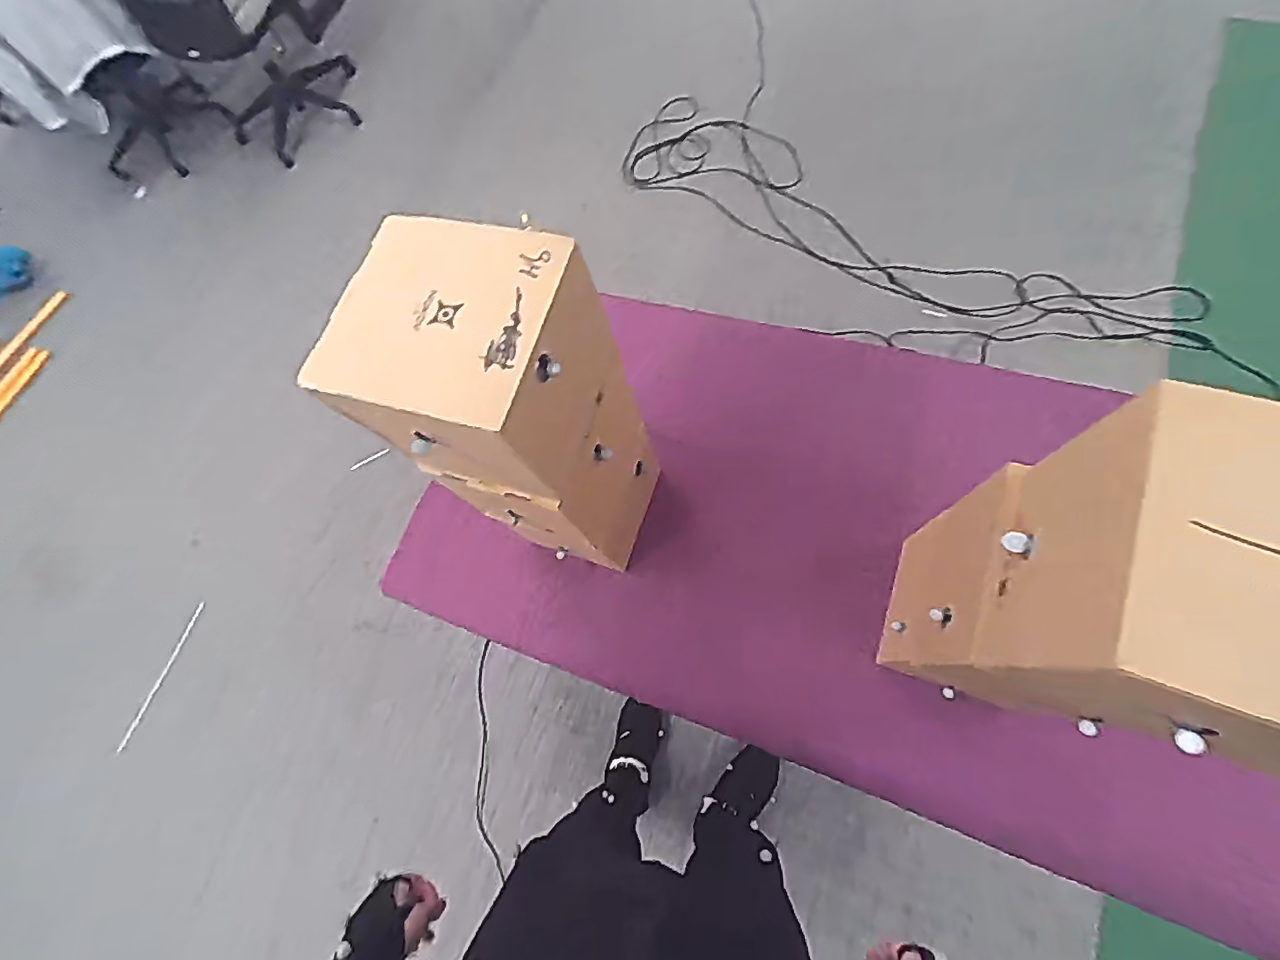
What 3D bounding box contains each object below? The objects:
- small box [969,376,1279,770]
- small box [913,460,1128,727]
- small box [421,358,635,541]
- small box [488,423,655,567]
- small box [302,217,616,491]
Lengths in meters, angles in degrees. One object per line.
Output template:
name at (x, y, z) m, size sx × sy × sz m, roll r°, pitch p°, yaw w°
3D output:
small box at (0.340, 0.066, 0.329) m, size 0.179 × 0.176 × 0.168 m, roll 19°, pitch 75°, yaw 17°
small box at (0.365, 0.108, 0.485) m, size 0.168 × 0.176 × 0.179 m, roll 17°, pitch 75°, yaw 16°
small box at (-0.113, -0.046, 0.637) m, size 0.168 × 0.176 × 0.179 m, roll 15°, pitch 74°, yaw 15°
small box at (-0.085, 0.010, 0.786) m, size 0.168 × 0.176 × 0.179 m, roll 16°, pitch 74°, yaw 16°
small box at (-0.140, -0.102, 0.485) m, size 0.179 × 0.176 × 0.168 m, roll 13°, pitch 74°, yaw 16°
